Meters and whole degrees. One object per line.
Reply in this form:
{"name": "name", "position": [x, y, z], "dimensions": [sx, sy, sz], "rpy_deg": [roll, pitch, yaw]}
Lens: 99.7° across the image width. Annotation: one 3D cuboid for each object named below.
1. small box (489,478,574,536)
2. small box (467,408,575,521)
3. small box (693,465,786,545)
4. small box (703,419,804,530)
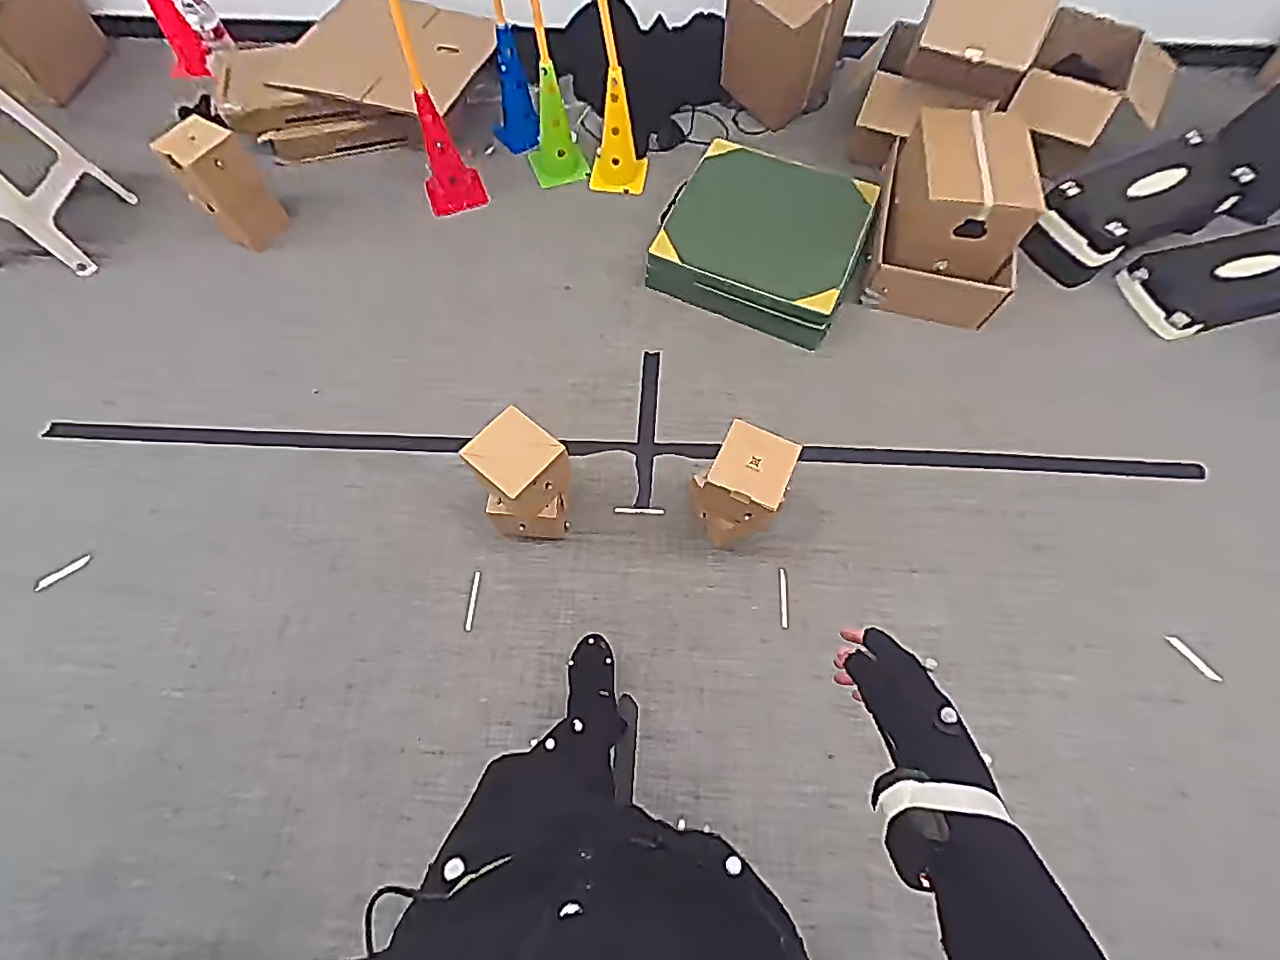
{"name": "small box", "position": [-0.274, 0.043, 1.422], "dimensions": [0.179, 0.176, 0.168], "rpy_deg": [4, 66, 3]}
{"name": "small box", "position": [-0.277, -0.035, 1.274], "dimensions": [0.179, 0.176, 0.168], "rpy_deg": [35, 70, 13]}
{"name": "small box", "position": [0.251, 0.047, 1.421], "dimensions": [0.179, 0.176, 0.168], "rpy_deg": [-28, 69, -12]}
{"name": "small box", "position": [0.256, -0.005, 1.263], "dimensions": [0.168, 0.176, 0.179], "rpy_deg": [25, 69, 9]}
